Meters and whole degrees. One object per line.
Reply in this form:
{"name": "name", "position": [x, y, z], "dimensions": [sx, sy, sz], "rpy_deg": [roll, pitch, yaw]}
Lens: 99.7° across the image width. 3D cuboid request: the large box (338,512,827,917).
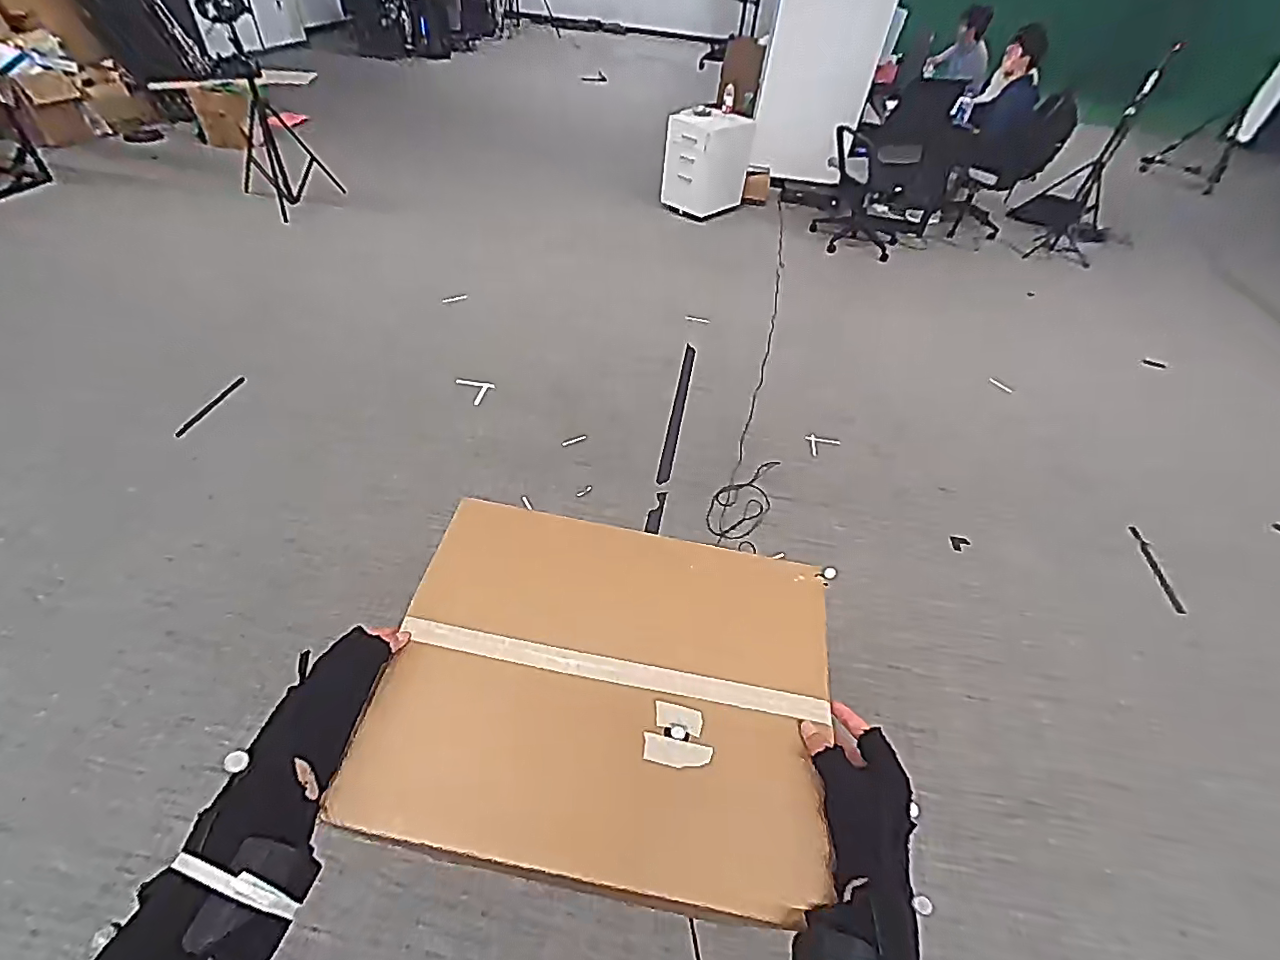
{"name": "large box", "position": [-0.040, 0.278, 0.632], "dimensions": [0.408, 0.320, 0.320], "rpy_deg": [11, 53, 2]}
